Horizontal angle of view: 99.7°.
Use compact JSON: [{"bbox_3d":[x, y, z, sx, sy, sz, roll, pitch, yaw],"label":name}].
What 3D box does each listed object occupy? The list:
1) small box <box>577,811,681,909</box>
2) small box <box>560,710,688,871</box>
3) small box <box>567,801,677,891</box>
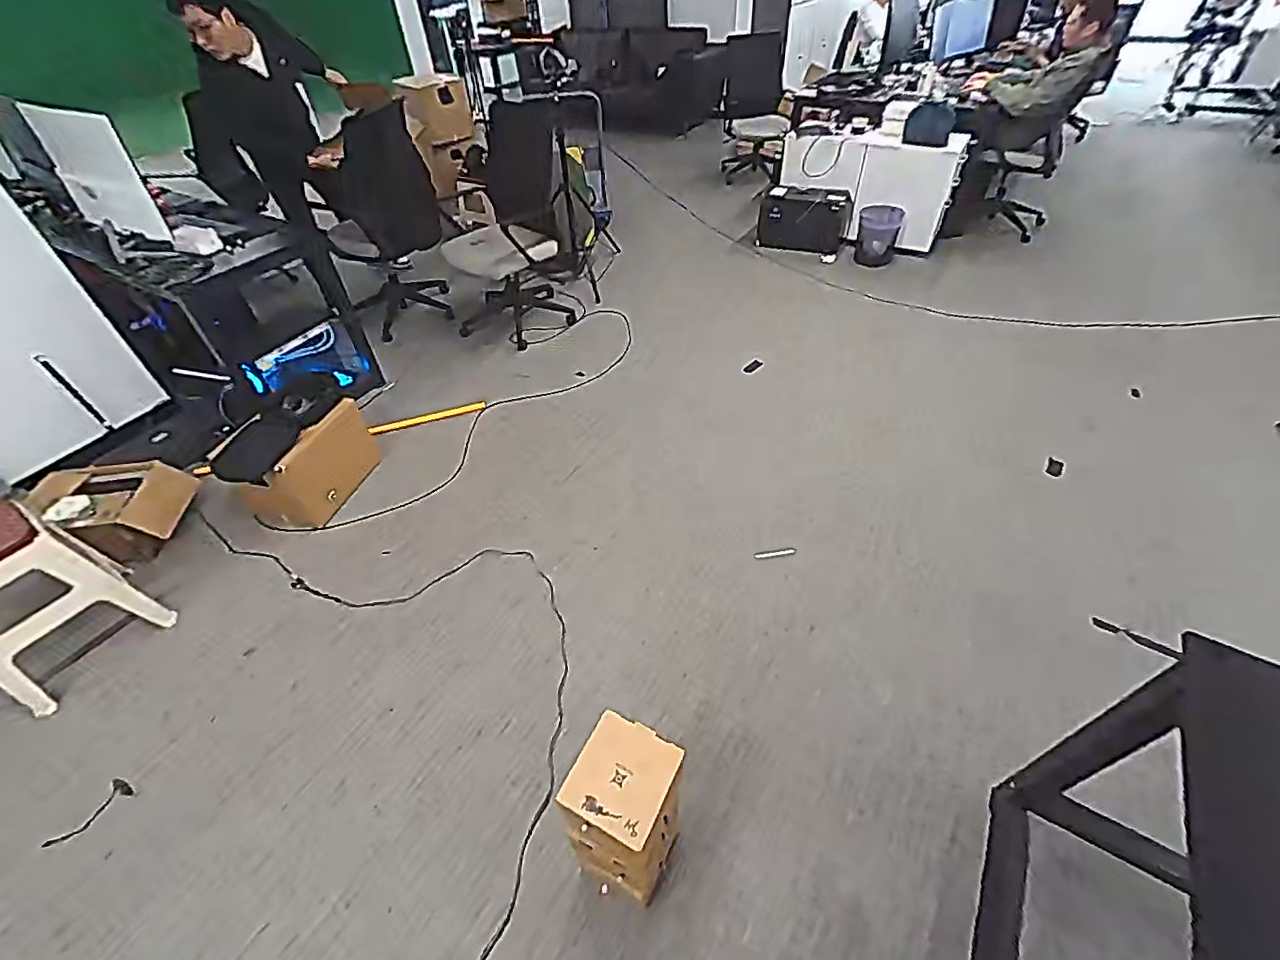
[{"bbox_3d":[-0.021,0.812,1.209,0.168,0.176,0.179,19,49,21],"label":"small box"},{"bbox_3d":[-0.025,0.568,0.991,0.168,0.176,0.179,19,48,21],"label":"small box"},{"bbox_3d":[-0.026,0.692,1.100,0.168,0.176,0.179,17,47,18],"label":"small box"}]
